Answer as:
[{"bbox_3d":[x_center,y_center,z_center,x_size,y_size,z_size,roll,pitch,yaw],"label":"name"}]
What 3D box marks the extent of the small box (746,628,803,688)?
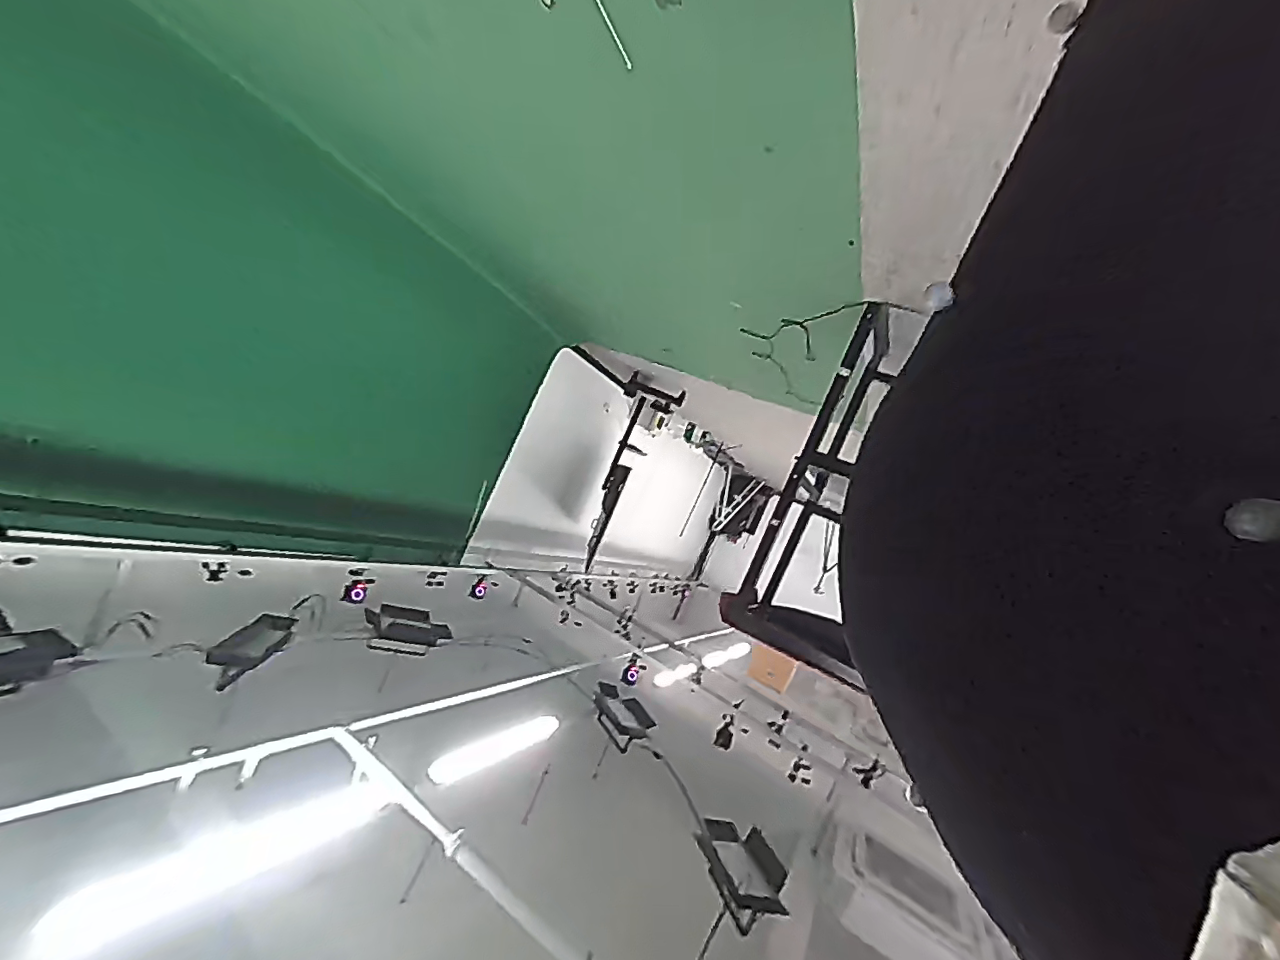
[{"bbox_3d":[0.572,0.742,2.275,0.179,0.176,0.168,23,180,25],"label":"small box"}]
